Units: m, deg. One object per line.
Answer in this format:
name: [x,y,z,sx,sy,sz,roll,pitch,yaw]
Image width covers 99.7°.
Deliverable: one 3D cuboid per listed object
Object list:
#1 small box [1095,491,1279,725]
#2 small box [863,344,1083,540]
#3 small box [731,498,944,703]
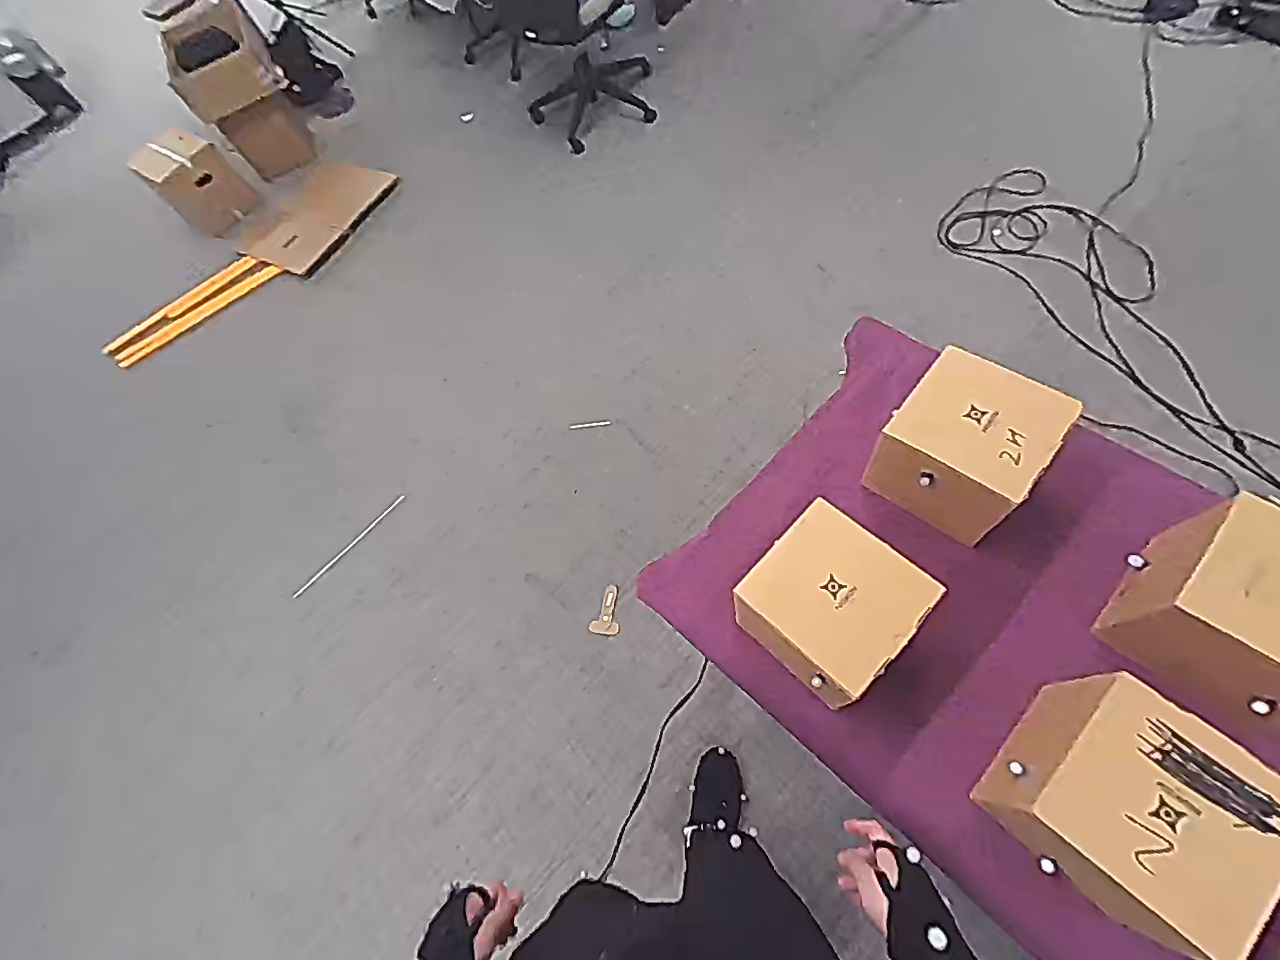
small box: [0.671,0.147,0.595,0.179,0.176,0.168,37,77,26]
small box: [0.432,-0.044,0.736,0.179,0.176,0.168,36,78,25]
small box: [0.233,0.160,0.684,0.179,0.176,0.168,40,77,24]
